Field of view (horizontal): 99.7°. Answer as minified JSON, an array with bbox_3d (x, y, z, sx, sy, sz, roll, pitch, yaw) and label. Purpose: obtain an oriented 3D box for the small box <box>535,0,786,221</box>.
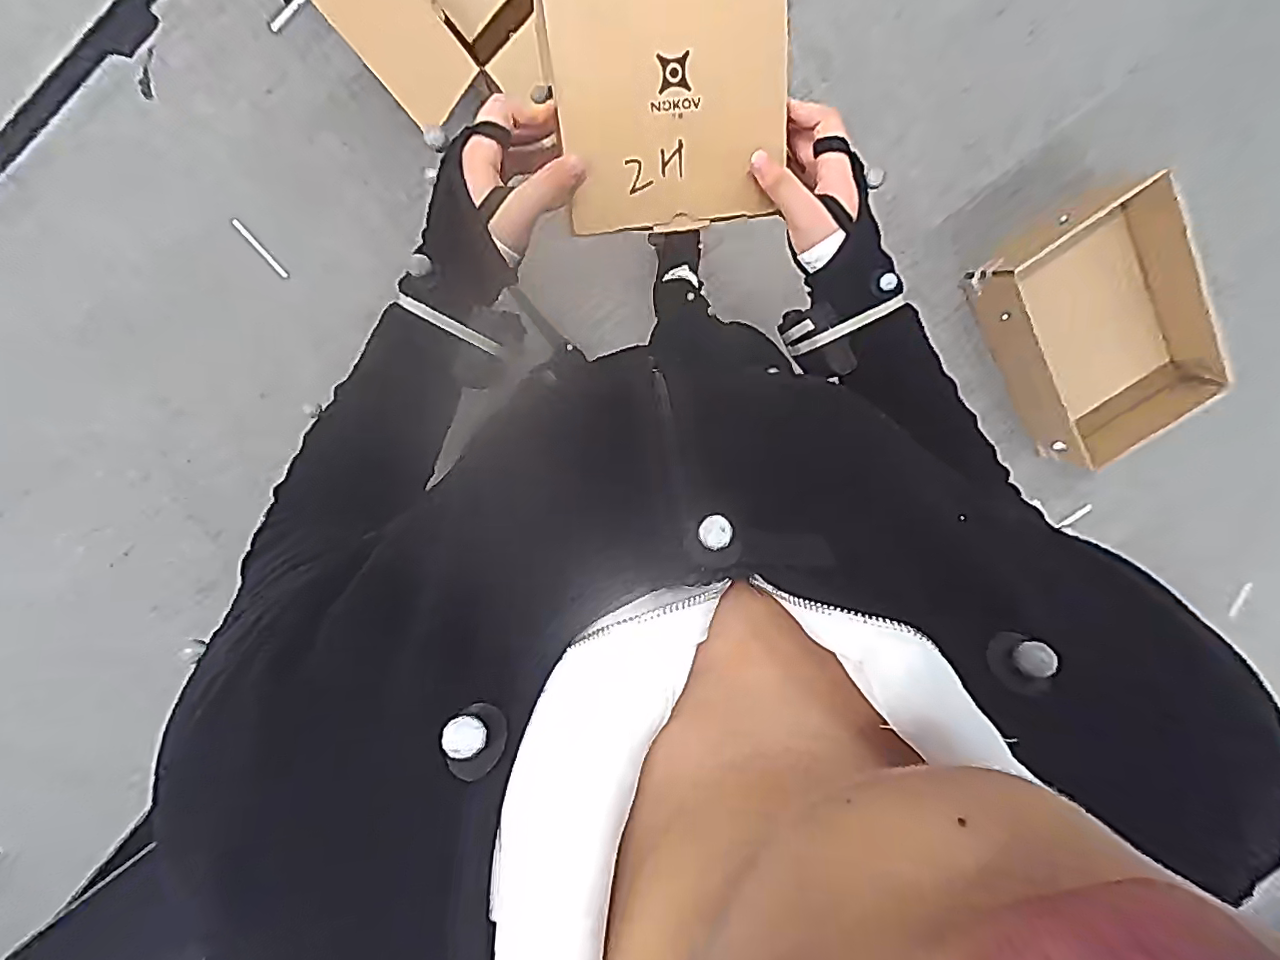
[{"bbox_3d":[0.008,-0.317,0.442,0.168,0.176,0.179,-9,116,-6],"label":"small box"}]
